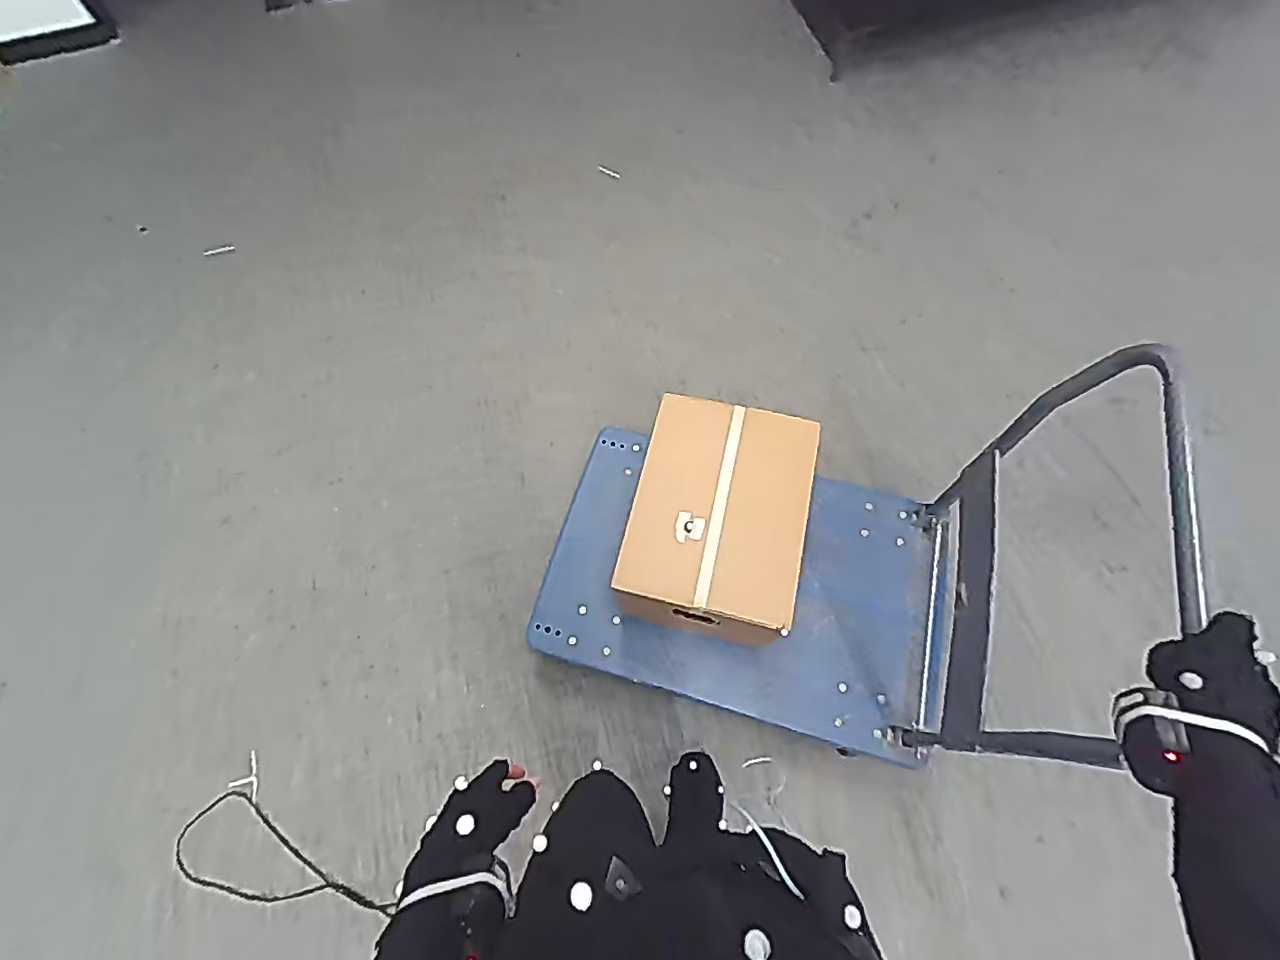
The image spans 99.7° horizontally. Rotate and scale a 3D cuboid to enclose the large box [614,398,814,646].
[{"bbox_3d":[0.151,0.098,1.129,0.320,0.320,0.408,12,69,8],"label":"large box"}]
